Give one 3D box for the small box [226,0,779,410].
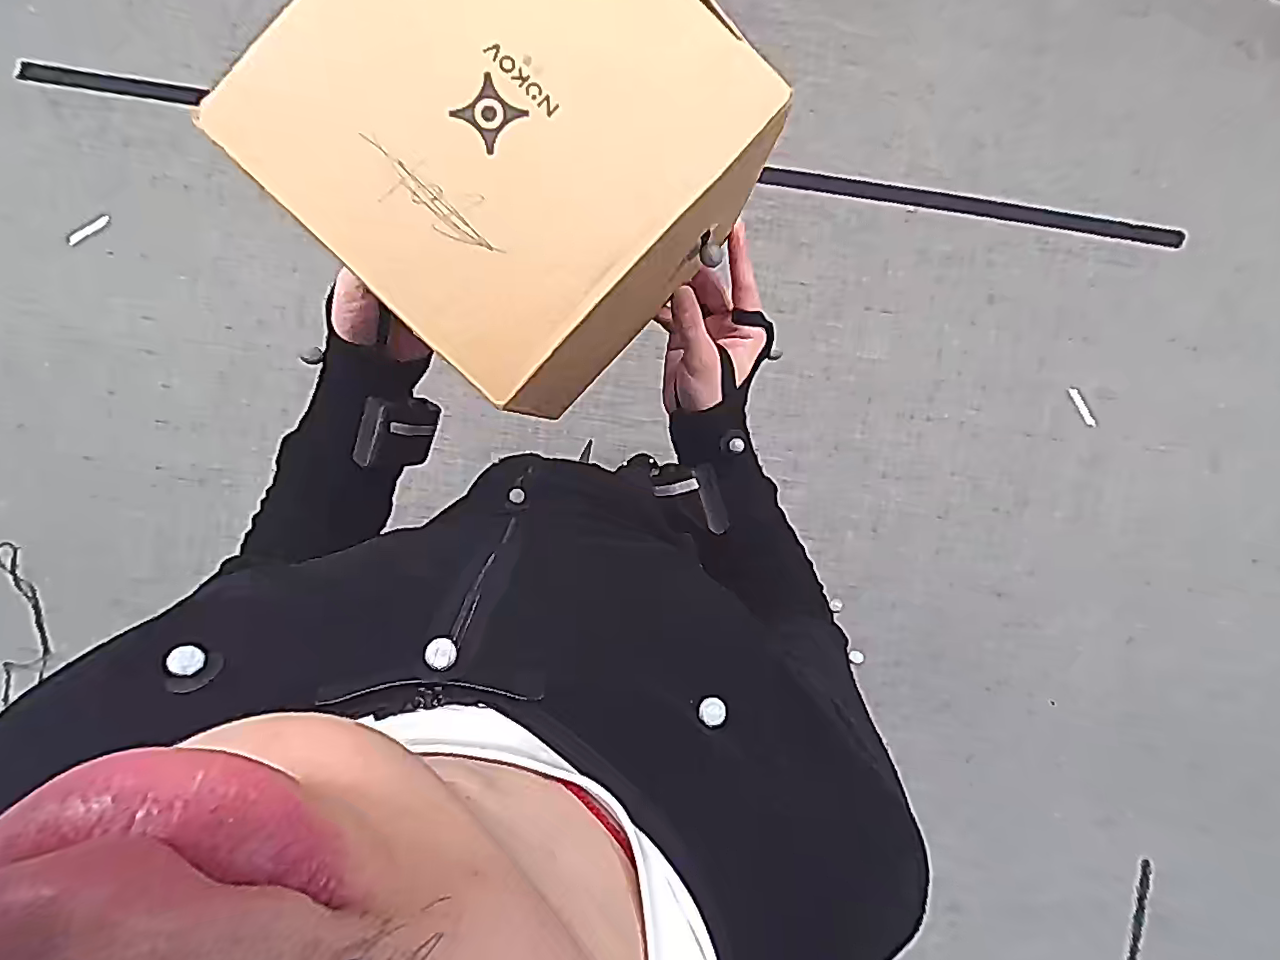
[{"bbox_3d":[-0.058,-0.157,0.305,0.168,0.176,0.179,43,93,-4],"label":"small box"}]
